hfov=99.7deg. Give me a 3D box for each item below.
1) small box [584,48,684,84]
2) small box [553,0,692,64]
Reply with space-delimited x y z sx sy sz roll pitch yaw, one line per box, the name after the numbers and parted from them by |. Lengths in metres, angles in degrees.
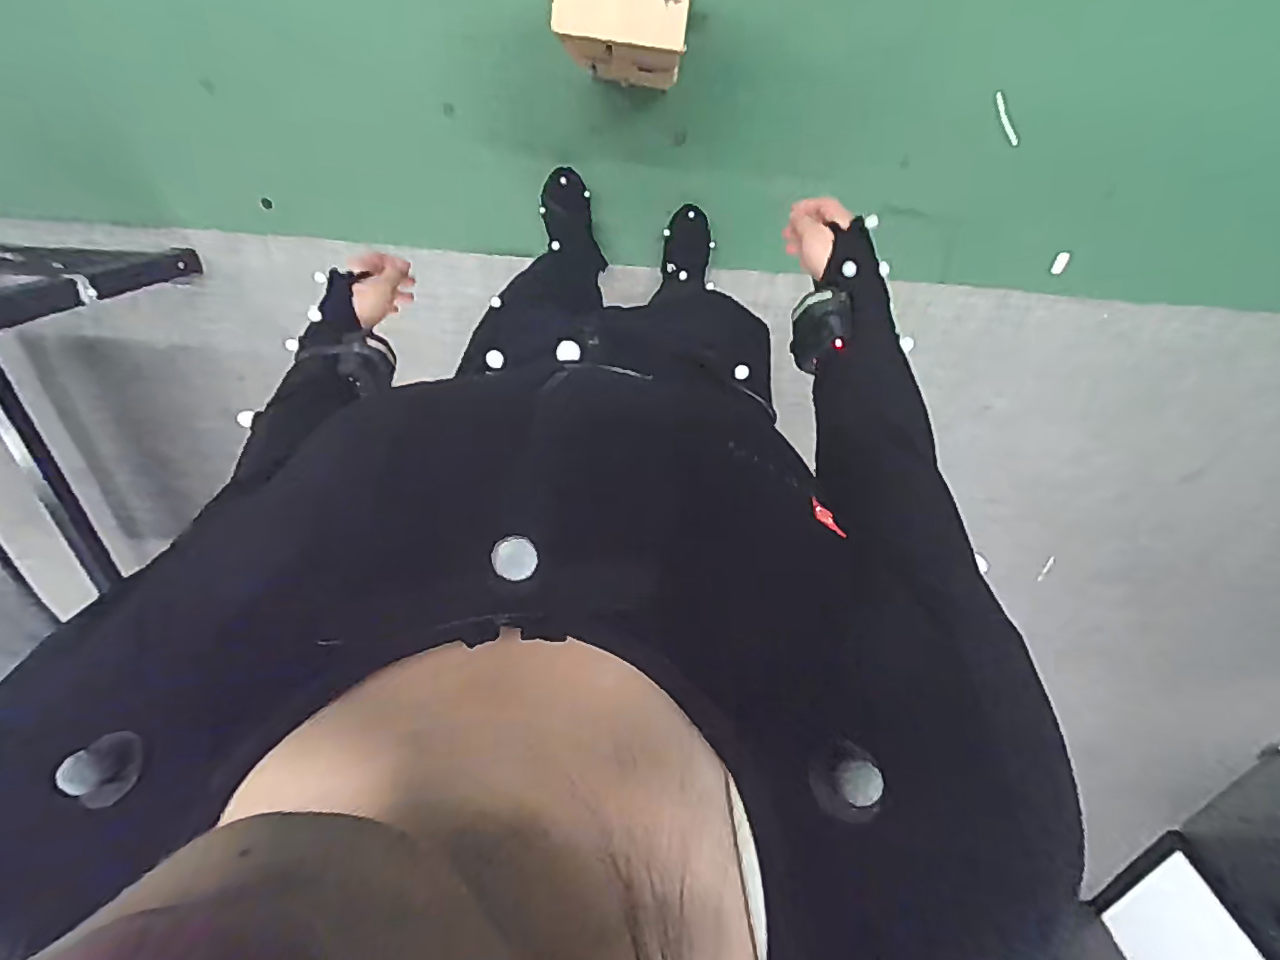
-0.004 -0.852 1.005 0.179 0.176 0.168 7 122 -4 | small box
-0.015 -0.680 0.726 0.179 0.176 0.168 6 121 -3 | small box
